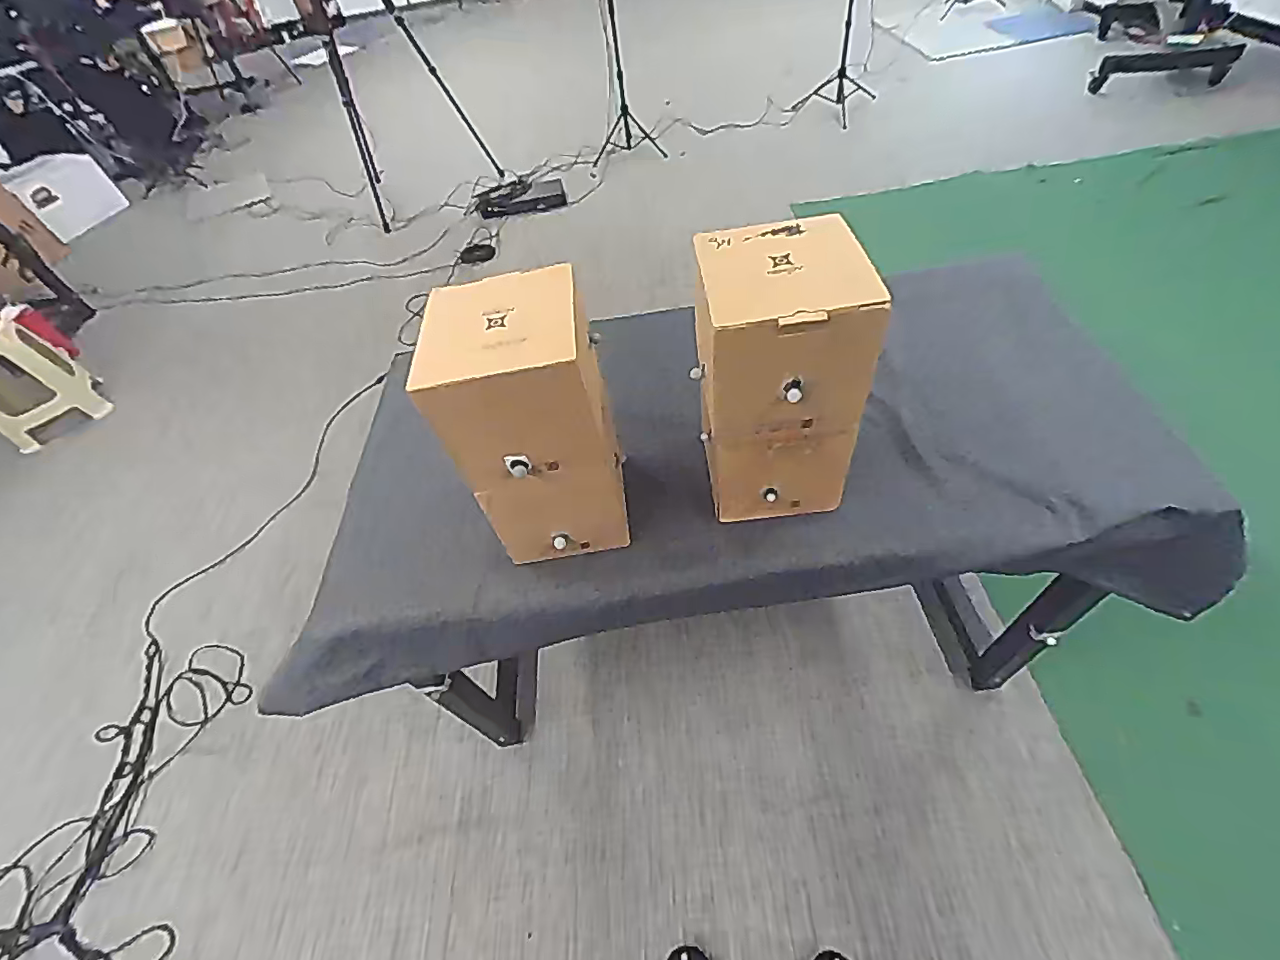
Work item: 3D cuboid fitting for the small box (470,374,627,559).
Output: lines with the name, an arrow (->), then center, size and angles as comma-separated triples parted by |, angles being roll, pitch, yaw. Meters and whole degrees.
small box -> -0.115, -0.017, 0.735 | 0.168, 0.176, 0.179 | -10, 52, 2

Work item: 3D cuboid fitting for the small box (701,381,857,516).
small box -> 0.173, -0.074, 0.736 | 0.168, 0.176, 0.179 | -7, 52, 4

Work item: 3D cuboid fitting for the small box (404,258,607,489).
small box -> -0.136, -0.116, 0.608 | 0.168, 0.176, 0.179 | -11, 52, 2

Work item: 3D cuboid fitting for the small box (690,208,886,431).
small box -> 0.150, -0.169, 0.605 | 0.168, 0.176, 0.179 | -7, 52, 4
